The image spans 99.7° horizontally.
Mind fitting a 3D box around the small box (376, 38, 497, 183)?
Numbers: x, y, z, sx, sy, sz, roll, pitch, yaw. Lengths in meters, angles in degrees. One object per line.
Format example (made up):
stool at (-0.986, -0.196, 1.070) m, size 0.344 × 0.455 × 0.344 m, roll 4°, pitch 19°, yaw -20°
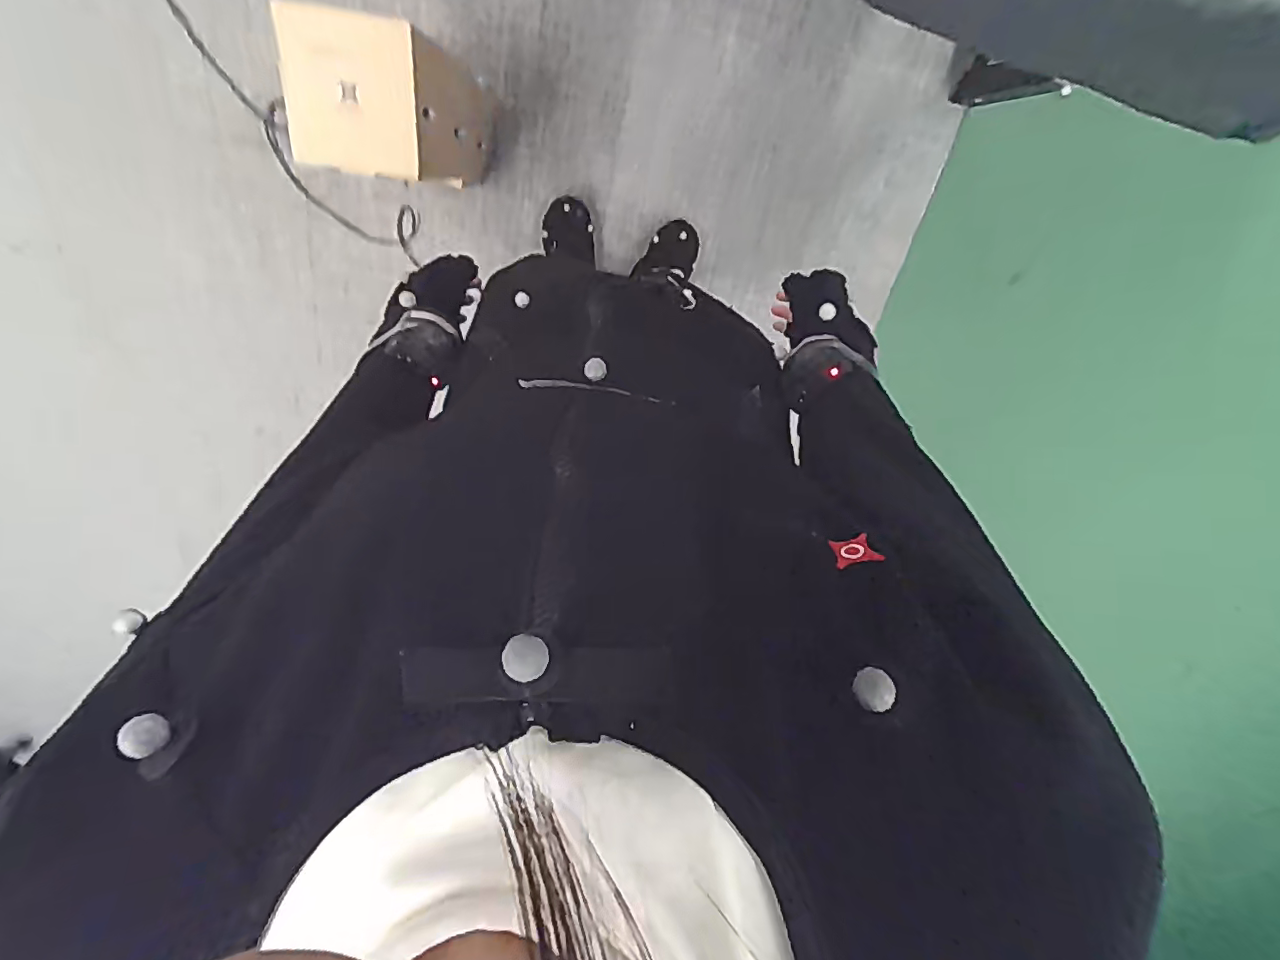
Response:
small box at (-0.383, -0.699, 1.041) m, size 0.168 × 0.176 × 0.179 m, roll 17°, pitch 119°, yaw -12°
